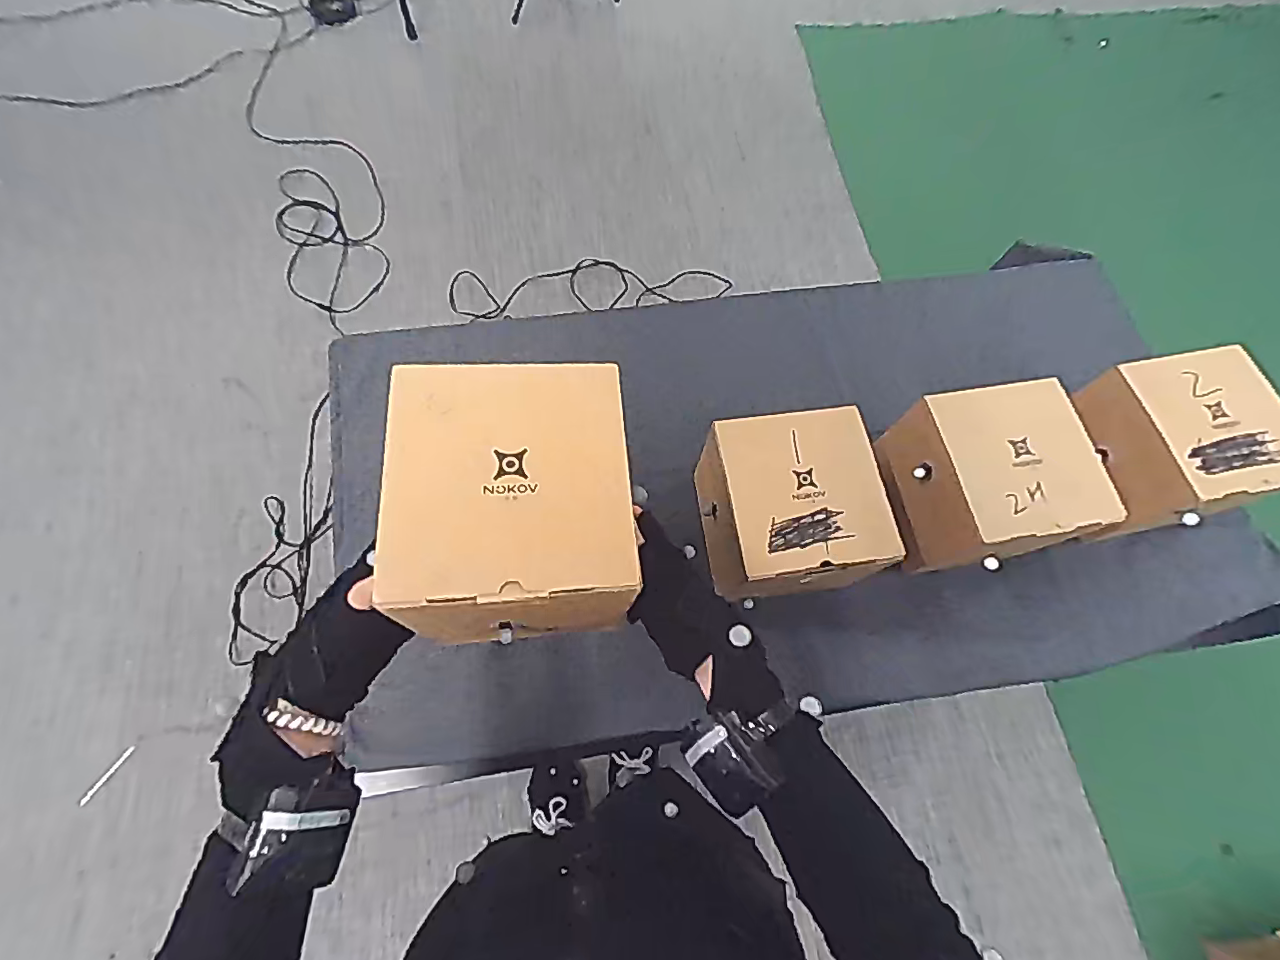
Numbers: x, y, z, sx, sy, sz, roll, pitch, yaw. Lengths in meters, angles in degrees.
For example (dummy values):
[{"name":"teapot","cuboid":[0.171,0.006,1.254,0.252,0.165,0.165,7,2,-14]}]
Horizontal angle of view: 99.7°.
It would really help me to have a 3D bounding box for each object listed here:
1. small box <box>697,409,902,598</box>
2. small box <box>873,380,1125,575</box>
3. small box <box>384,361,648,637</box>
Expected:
[{"name":"small box","cuboid":[0.169,0.038,0.636,0.168,0.176,0.179,-6,69,-5]},{"name":"small box","cuboid":[0.408,0.004,0.658,0.168,0.176,0.179,-8,70,-5]},{"name":"small box","cuboid":[-0.095,0.023,0.444,0.168,0.176,0.179,-3,67,-10]}]
